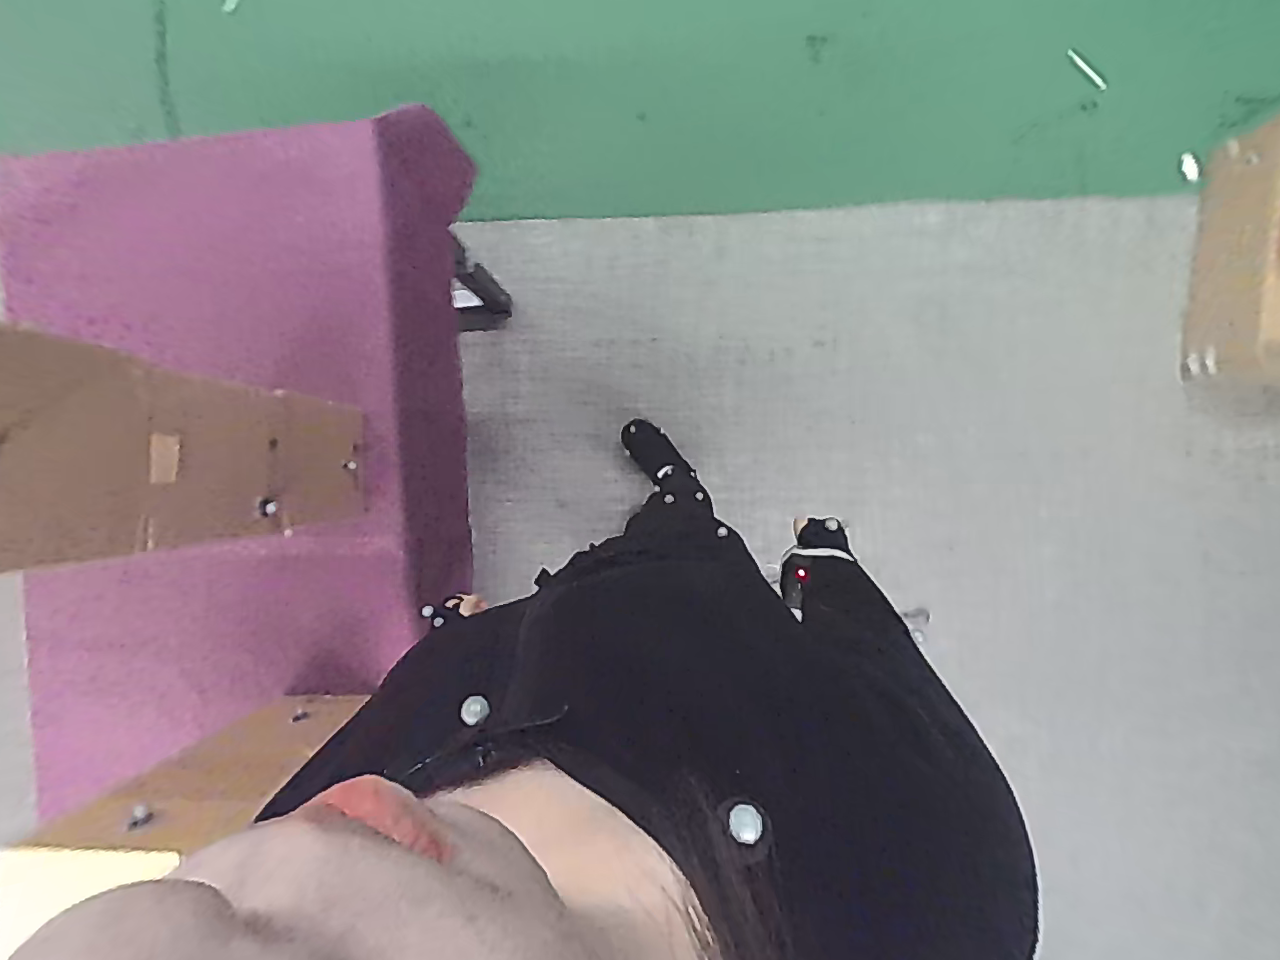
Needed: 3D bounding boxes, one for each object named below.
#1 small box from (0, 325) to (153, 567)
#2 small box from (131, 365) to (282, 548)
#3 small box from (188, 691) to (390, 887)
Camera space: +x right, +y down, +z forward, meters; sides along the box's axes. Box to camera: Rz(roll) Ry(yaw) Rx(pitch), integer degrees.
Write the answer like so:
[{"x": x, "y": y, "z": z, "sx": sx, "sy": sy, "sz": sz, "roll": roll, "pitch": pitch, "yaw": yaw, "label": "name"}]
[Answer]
[{"x": -0.514, "y": -0.026, "z": 0.399, "sx": 0.168, "sy": 0.176, "sz": 0.179, "roll": 2, "pitch": 90, "yaw": 2, "label": "small box"}, {"x": -0.509, "y": -0.024, "z": 0.562, "sx": 0.179, "sy": 0.176, "sz": 0.168, "roll": 1, "pitch": 90, "yaw": 5, "label": "small box"}, {"x": -0.456, "y": 0.397, "z": 0.724, "sx": 0.168, "sy": 0.176, "sz": 0.179, "roll": -2, "pitch": 90, "yaw": 5, "label": "small box"}]
